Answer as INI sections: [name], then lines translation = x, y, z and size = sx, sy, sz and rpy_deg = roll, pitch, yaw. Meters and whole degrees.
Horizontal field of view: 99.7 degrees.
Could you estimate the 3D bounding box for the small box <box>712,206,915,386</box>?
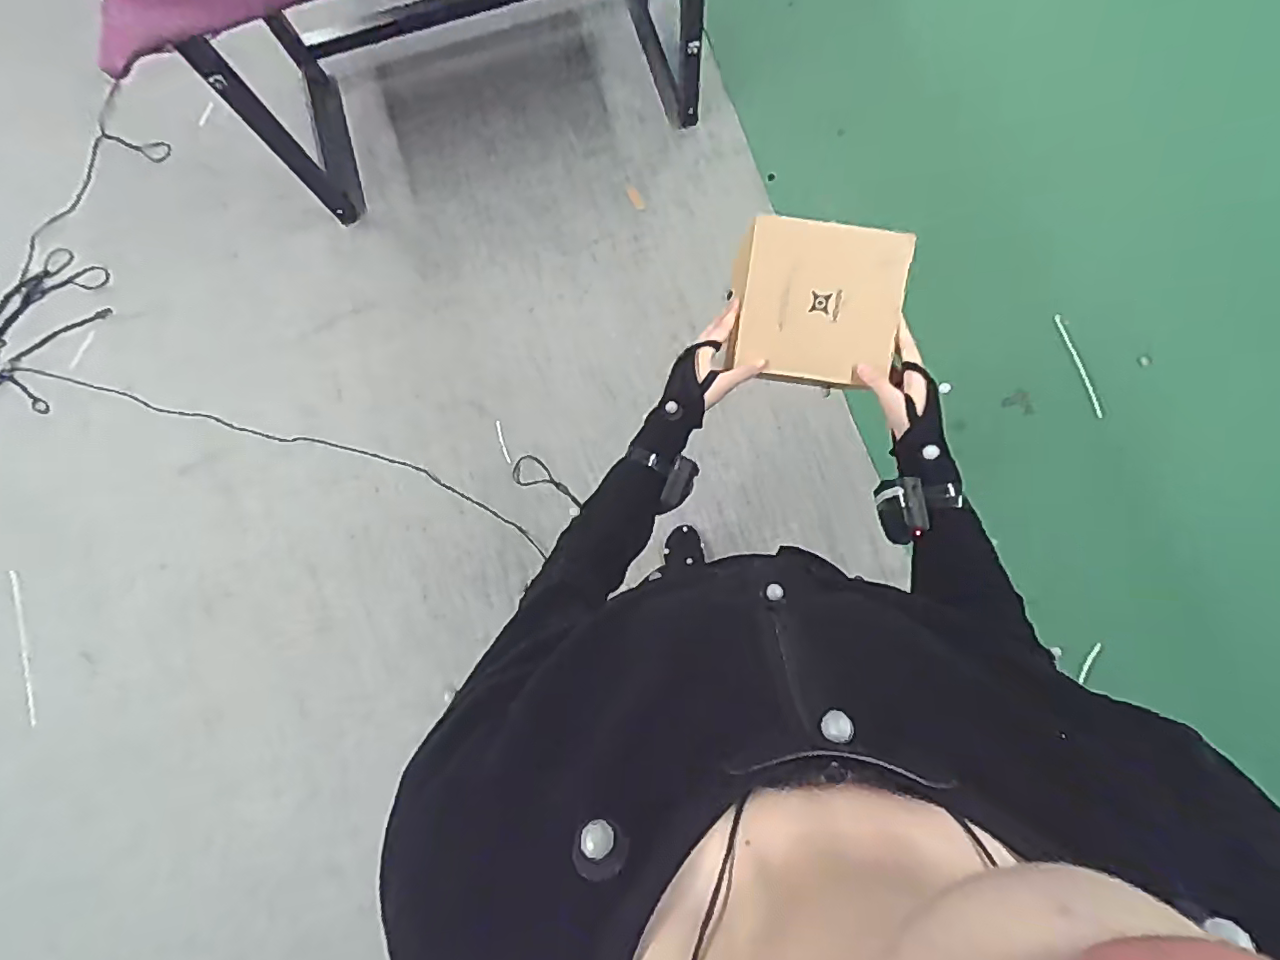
[small box]
translation = 0.193, -0.208, 0.656
size = 0.179, 0.176, 0.168
rpy_deg = 8, 98, 0
